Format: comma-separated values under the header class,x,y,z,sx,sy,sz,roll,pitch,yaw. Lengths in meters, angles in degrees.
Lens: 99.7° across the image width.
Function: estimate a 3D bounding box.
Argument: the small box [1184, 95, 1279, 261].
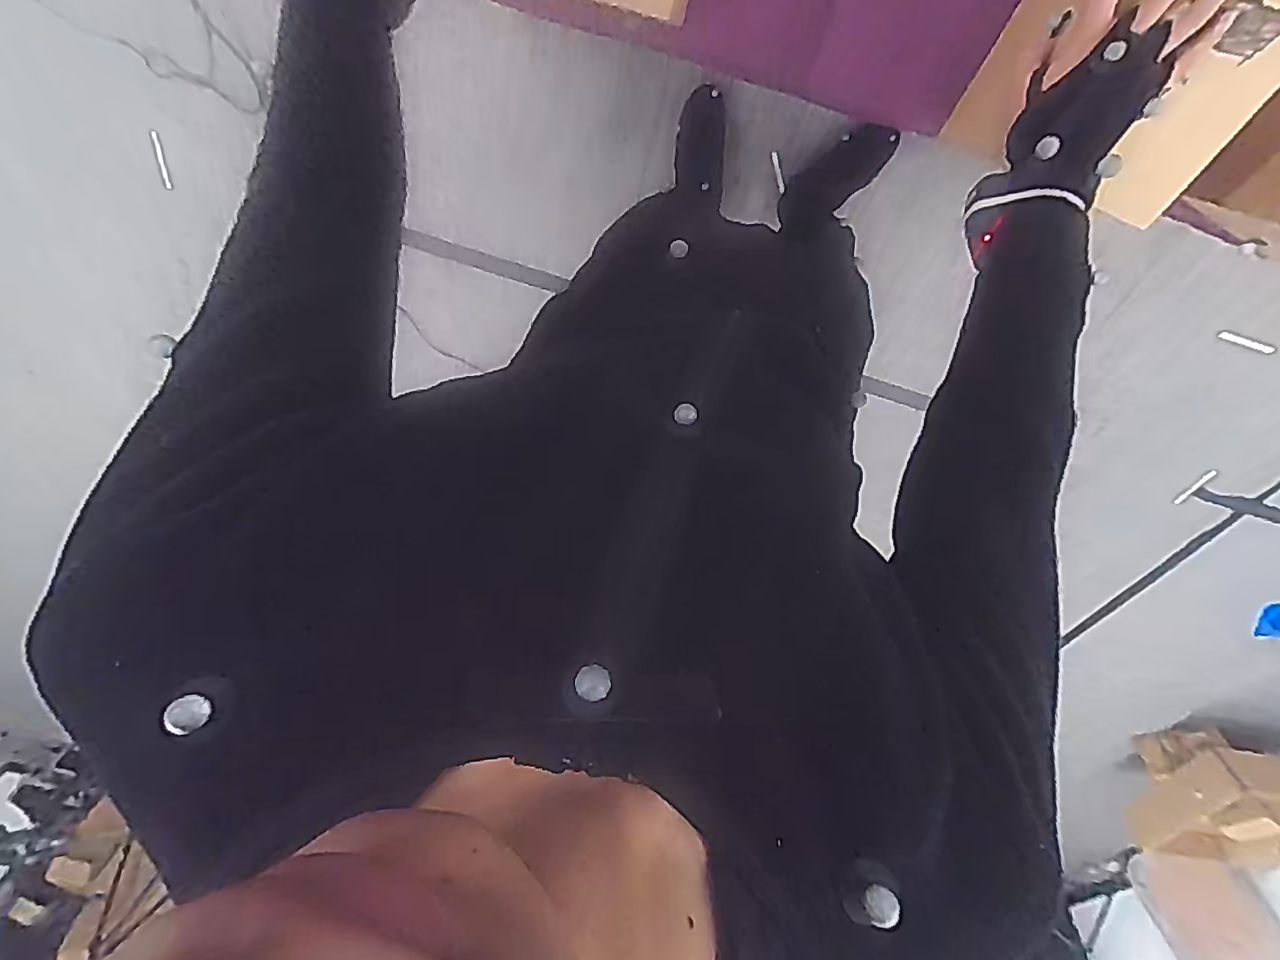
class,x,y,z,sx,sy,sz,roll,pitch,yaw
small box,0.696,-0.301,0.504,0.168,0.176,0.179,25,128,-9
